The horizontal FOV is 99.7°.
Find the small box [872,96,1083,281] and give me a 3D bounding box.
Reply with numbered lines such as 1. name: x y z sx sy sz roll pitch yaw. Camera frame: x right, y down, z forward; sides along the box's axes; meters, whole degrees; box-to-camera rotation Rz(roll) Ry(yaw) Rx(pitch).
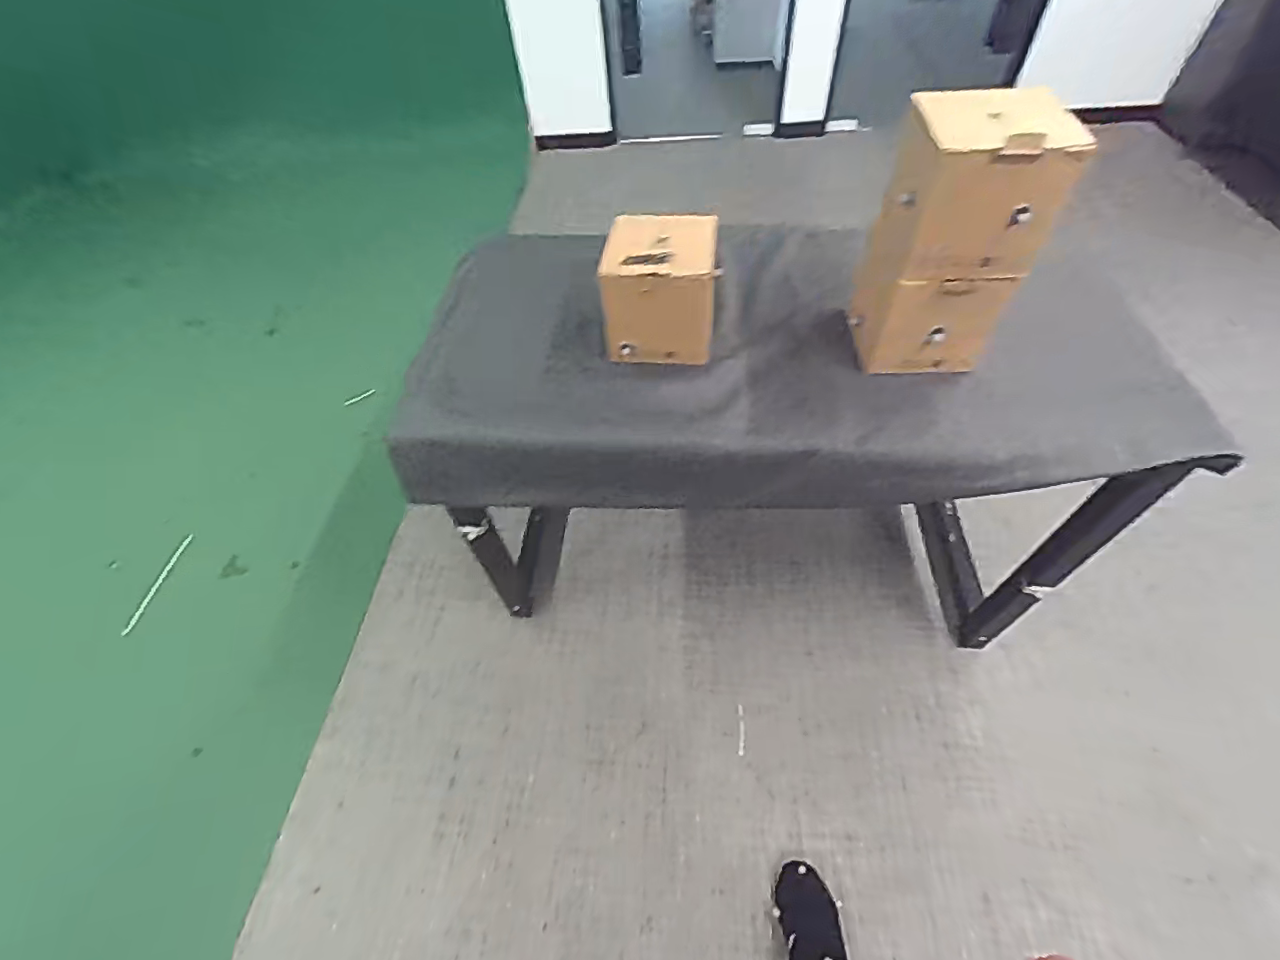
1. small box: 0.427 -0.385 0.723 0.168 0.176 0.179 2 52 6

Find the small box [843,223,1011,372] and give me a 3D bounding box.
1. small box: 0.433 -0.285 0.852 0.168 0.176 0.179 0 53 4

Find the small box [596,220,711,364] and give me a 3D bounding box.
1. small box: 0.031 -0.312 0.905 0.168 0.176 0.179 4 52 7
